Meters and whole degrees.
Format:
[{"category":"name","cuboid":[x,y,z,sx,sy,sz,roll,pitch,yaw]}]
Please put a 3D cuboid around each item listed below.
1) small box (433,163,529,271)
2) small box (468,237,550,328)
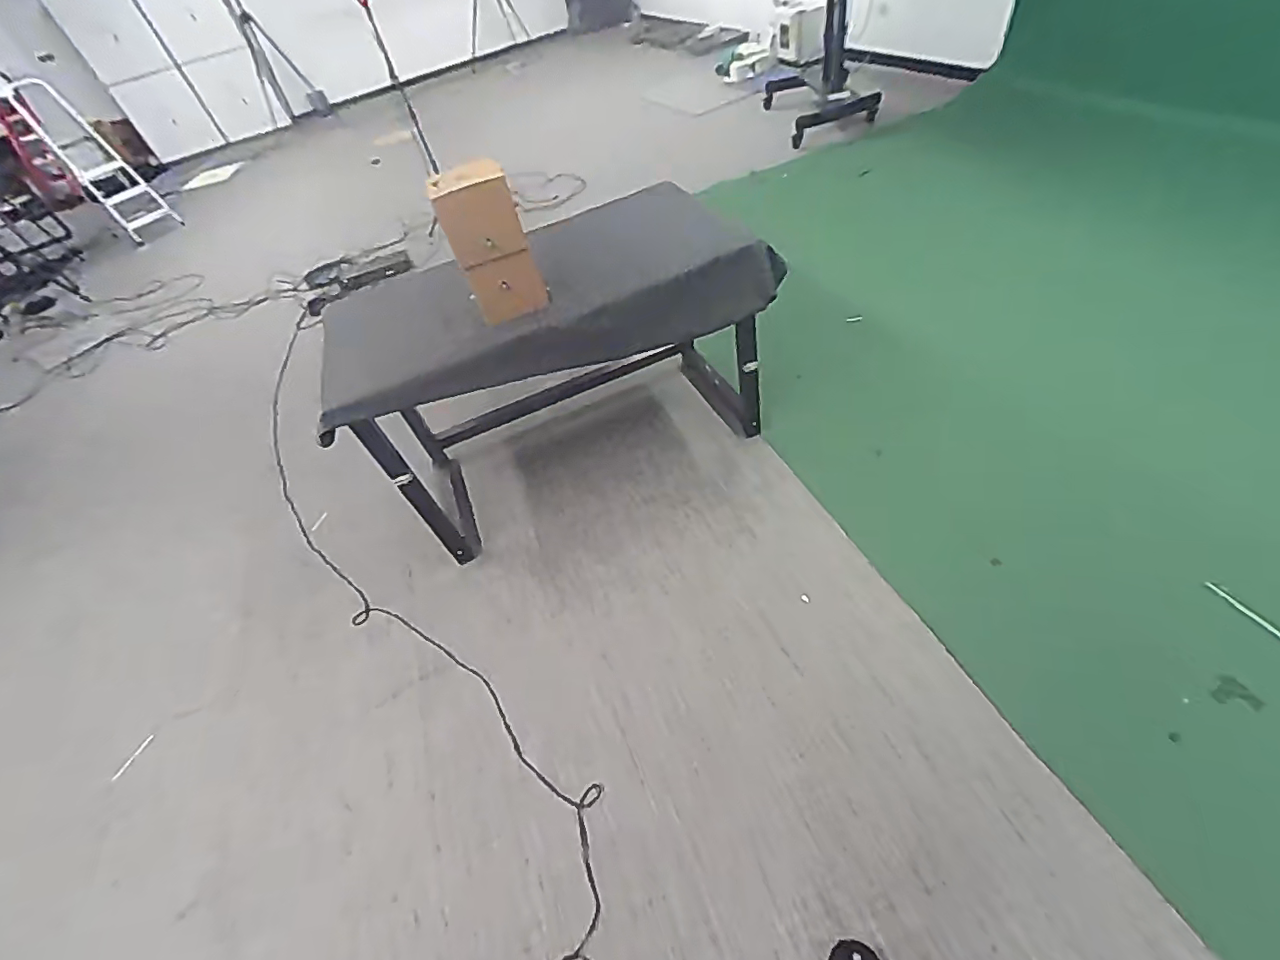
[{"category":"small box","cuboid":[-0.380,-0.636,1.313,0.179,0.176,0.168,-21,46,-6]},{"category":"small box","cuboid":[-0.349,-0.535,1.437,0.179,0.176,0.168,-22,46,-5]}]
